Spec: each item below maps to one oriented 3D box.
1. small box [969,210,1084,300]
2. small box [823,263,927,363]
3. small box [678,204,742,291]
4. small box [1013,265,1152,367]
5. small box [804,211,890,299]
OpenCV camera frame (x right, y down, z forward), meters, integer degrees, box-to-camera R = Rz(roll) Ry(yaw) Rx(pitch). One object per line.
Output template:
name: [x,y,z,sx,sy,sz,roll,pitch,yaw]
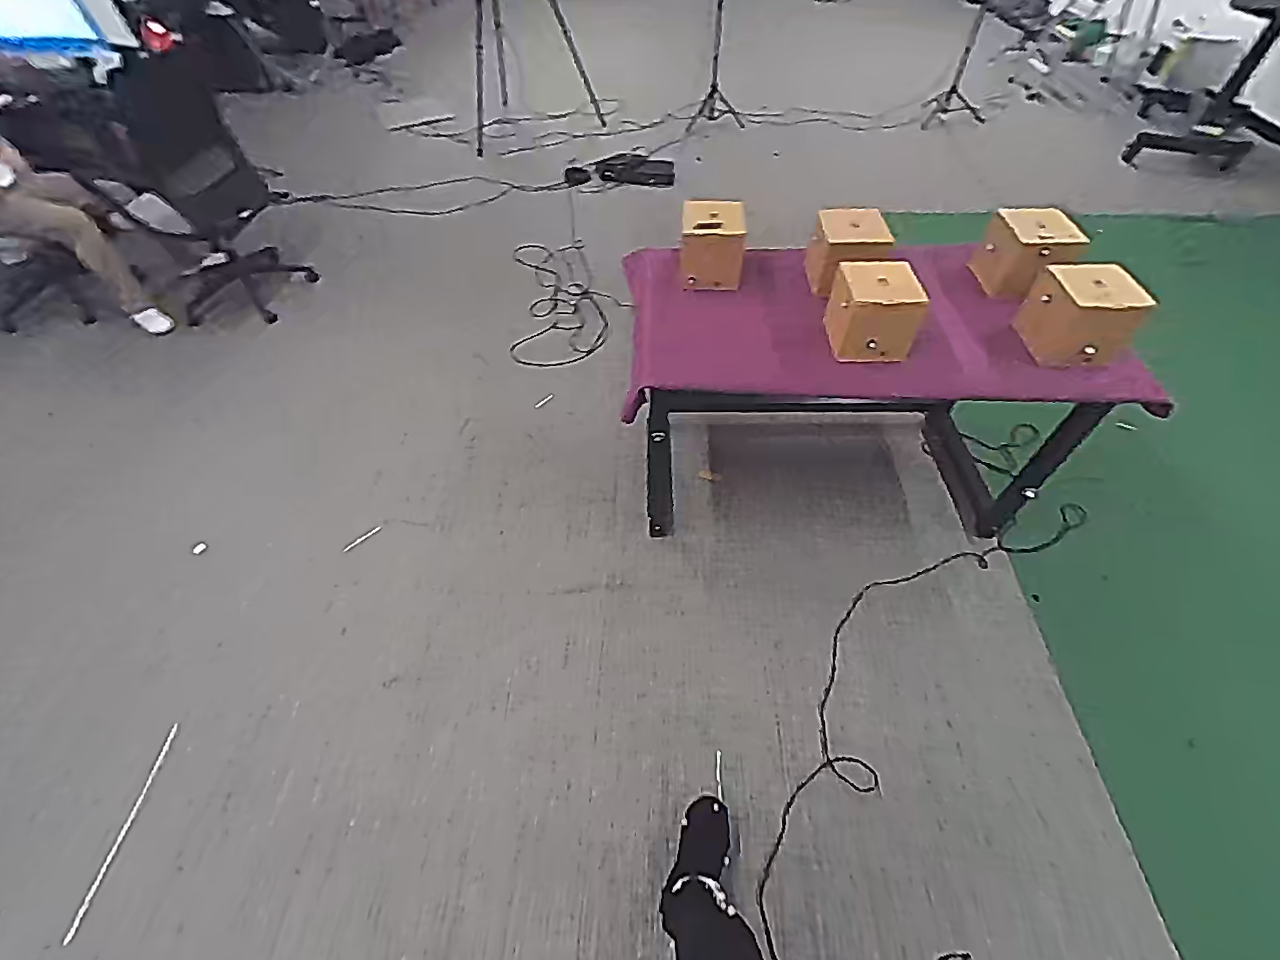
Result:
small box: [1.031,-0.607,1.464,0.168,0.176,0.179,-1,52,2]
small box: [0.561,-0.408,1.322,0.168,0.176,0.179,0,52,1]
small box: [0.193,-0.651,1.518,0.168,0.176,0.179,3,53,3]
small box: [1.037,-0.392,1.289,0.168,0.176,0.179,0,51,4]
small box: [0.559,-0.618,1.488,0.168,0.176,0.179,0,53,3]
